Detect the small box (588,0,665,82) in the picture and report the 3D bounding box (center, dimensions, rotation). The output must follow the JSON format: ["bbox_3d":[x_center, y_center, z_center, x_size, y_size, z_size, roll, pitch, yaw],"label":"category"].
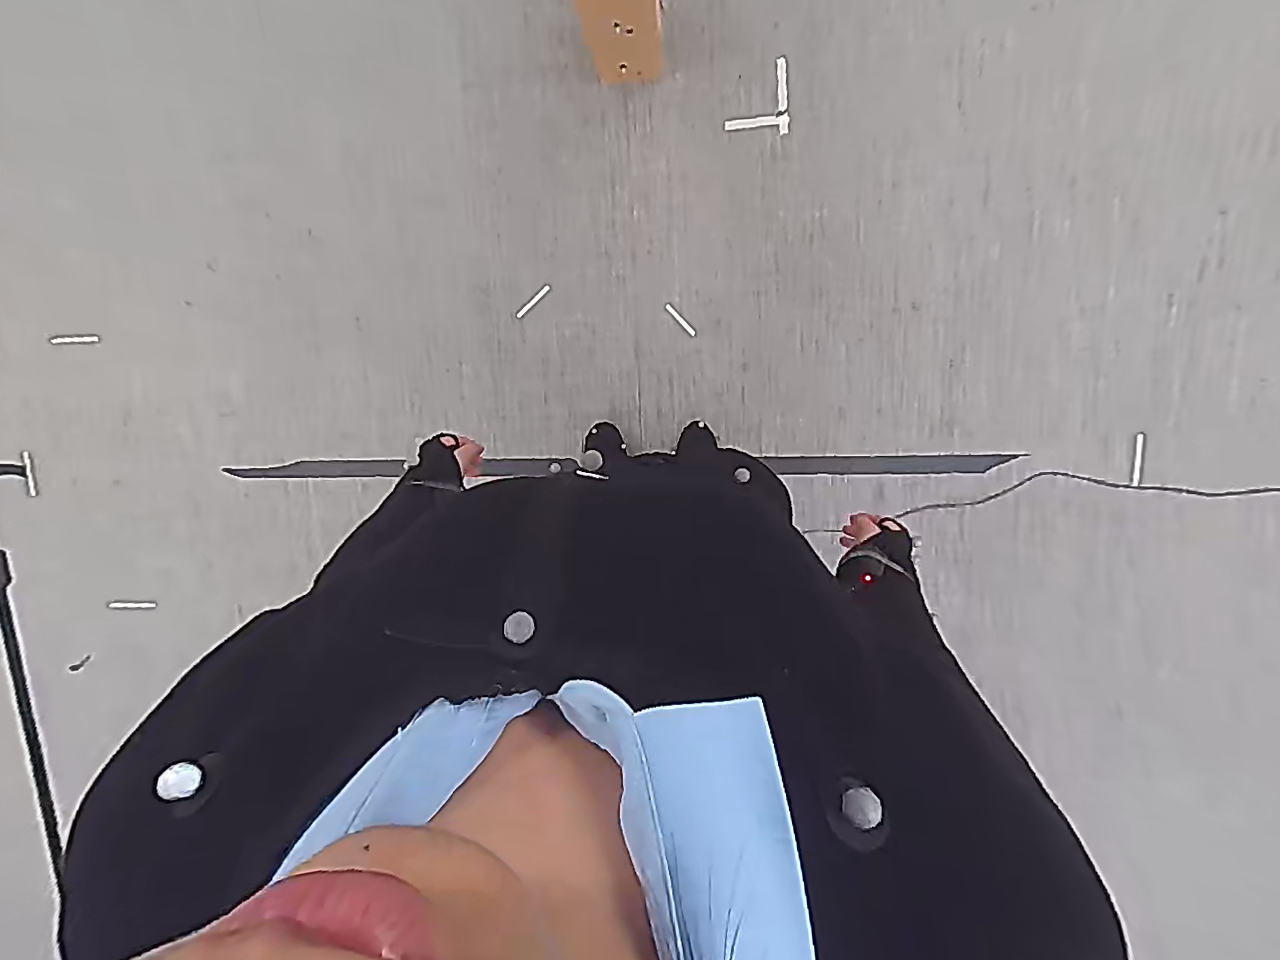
[{"bbox_3d":[-0.029,-1.078,1.263,0.168,0.176,0.179,-3,98,5],"label":"small box"}]
